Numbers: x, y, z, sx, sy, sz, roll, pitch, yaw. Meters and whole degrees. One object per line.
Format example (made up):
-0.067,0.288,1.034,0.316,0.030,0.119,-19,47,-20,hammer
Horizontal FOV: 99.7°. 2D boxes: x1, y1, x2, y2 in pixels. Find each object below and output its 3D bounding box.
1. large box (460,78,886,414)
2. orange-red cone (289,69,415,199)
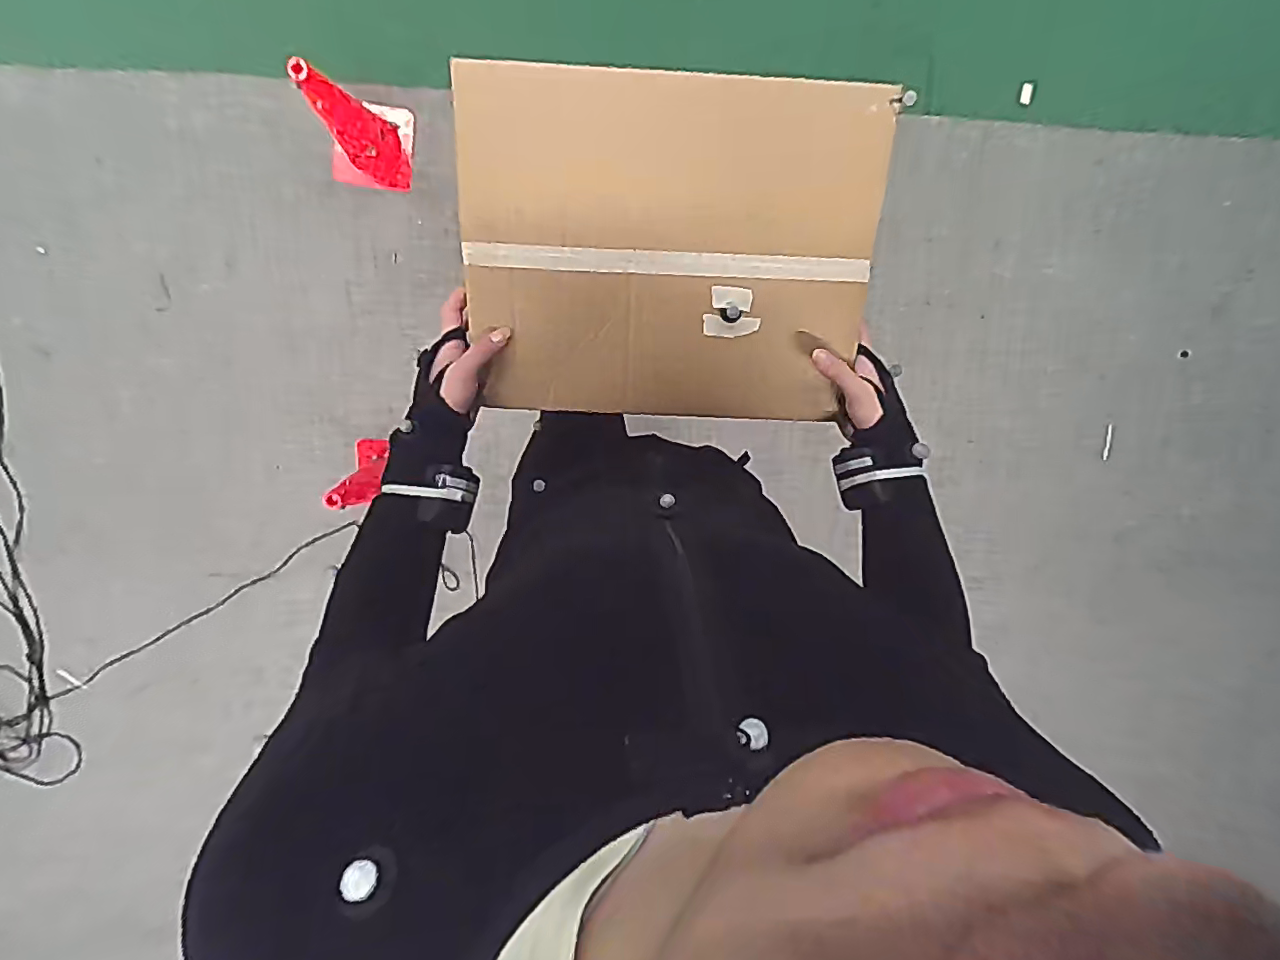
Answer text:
0.025,-0.270,0.688,0.408,0.320,0.320,1,111,-2,large box
-0.692,-0.825,1.250,0.199,0.360,0.198,8,98,-3,orange-red cone
